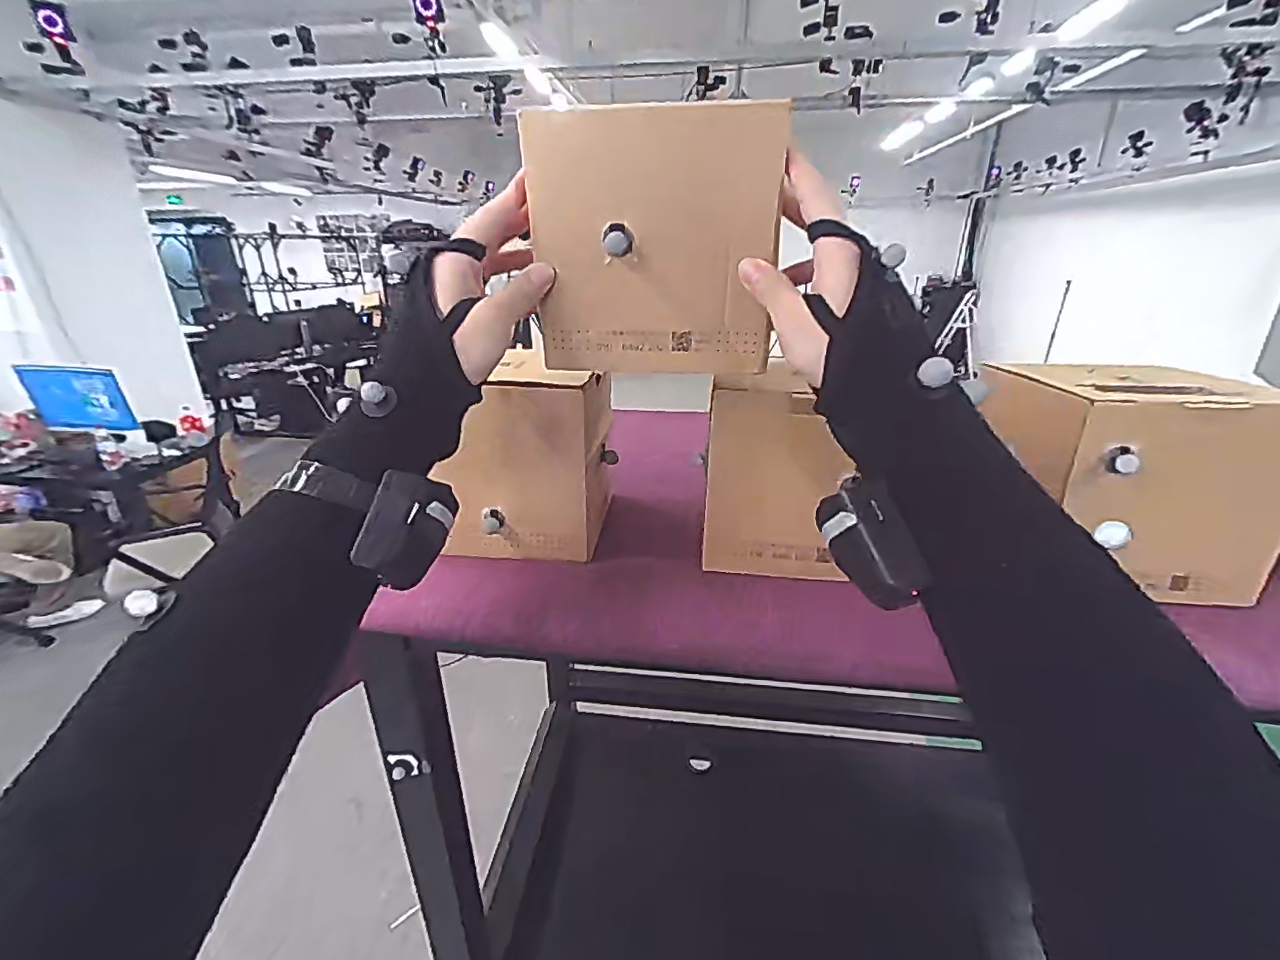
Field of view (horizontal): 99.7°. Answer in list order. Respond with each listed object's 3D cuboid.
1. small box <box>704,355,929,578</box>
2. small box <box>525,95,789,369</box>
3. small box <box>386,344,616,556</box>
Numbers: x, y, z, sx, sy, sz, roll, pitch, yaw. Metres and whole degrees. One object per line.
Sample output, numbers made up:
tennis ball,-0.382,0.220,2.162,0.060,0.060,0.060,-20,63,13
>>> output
small box,0.151,-0.023,0.518,0.168,0.176,0.179,4,21,8
small box,0.022,-0.193,0.435,0.168,0.176,0.179,2,29,7
small box,-0.122,-0.036,0.545,0.179,0.176,0.168,3,22,4
